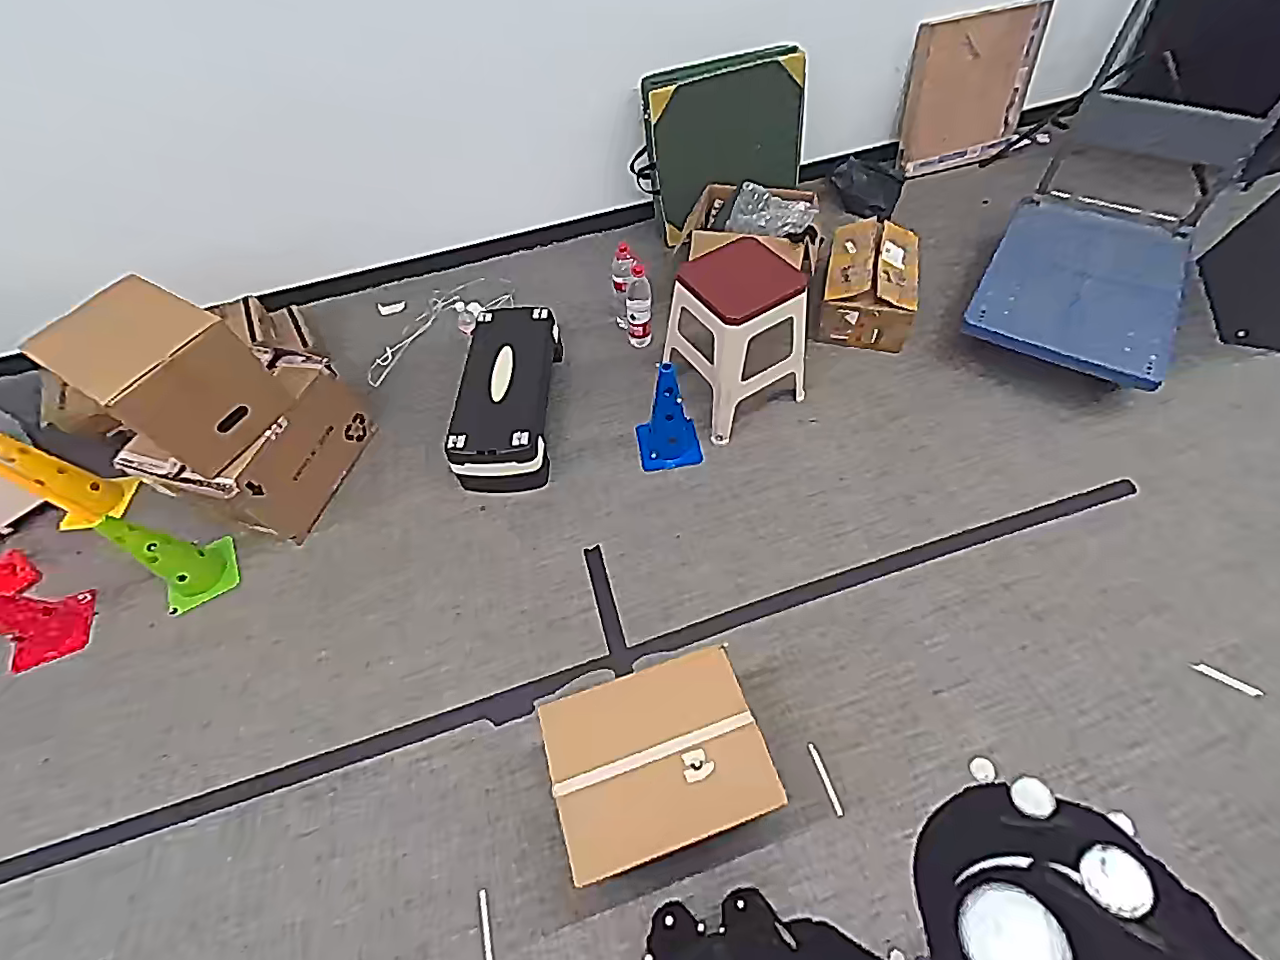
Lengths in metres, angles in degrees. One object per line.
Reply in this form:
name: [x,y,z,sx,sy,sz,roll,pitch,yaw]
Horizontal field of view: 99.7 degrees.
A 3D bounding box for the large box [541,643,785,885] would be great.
large box: [0.040,0.606,1.161,0.408,0.320,0.320,-17,57,-8]
